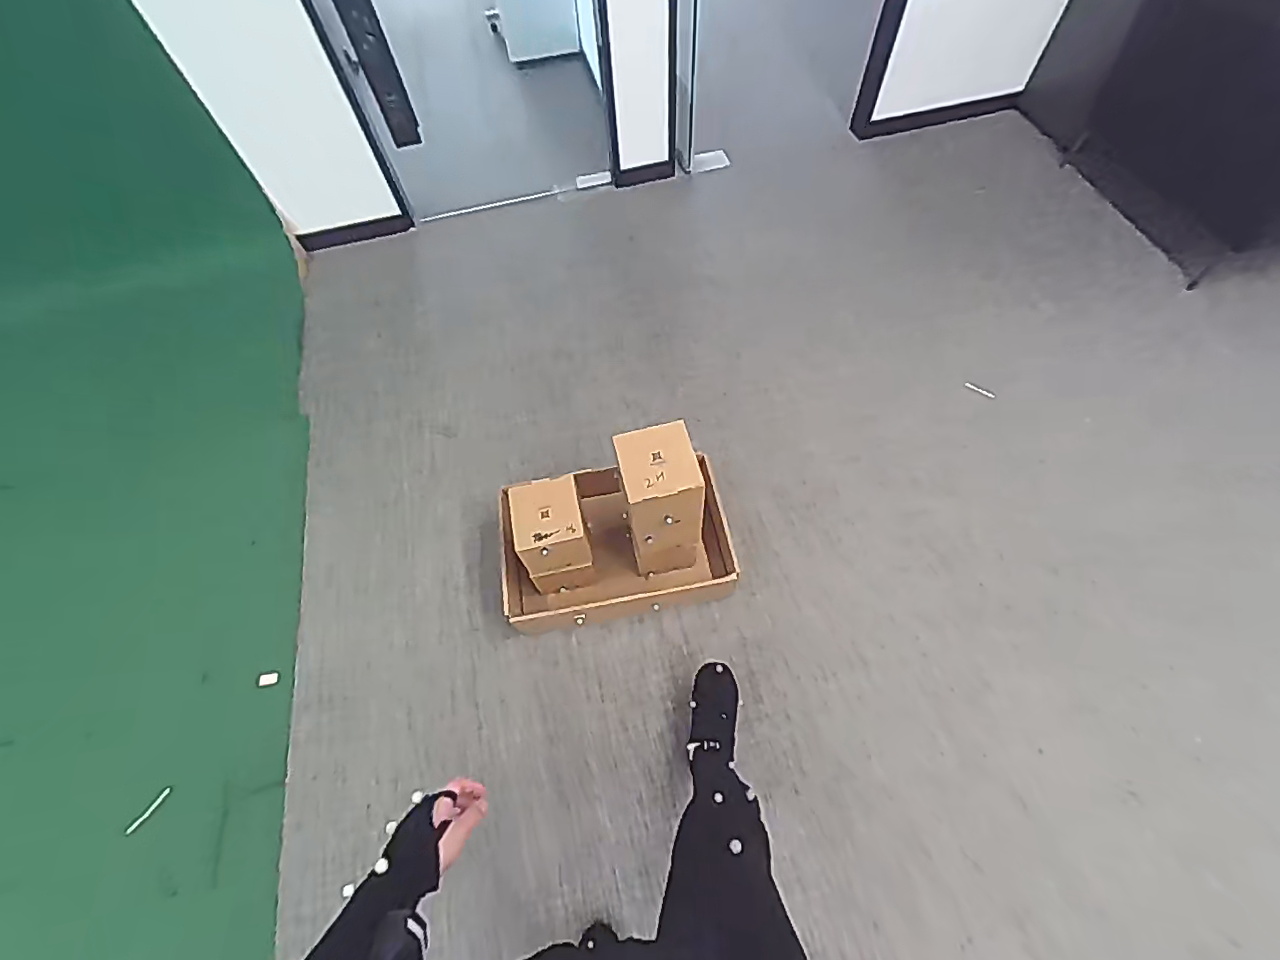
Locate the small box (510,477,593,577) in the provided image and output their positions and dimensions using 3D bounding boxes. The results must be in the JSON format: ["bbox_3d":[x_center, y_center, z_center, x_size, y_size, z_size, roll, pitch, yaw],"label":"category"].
[{"bbox_3d":[-0.221,0.120,1.359,0.168,0.176,0.179,-13,59,-3],"label":"small box"}]

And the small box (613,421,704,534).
[{"bbox_3d":[0.041,-0.002,1.221,0.168,0.176,0.179,-14,61,-3],"label":"small box"}]
